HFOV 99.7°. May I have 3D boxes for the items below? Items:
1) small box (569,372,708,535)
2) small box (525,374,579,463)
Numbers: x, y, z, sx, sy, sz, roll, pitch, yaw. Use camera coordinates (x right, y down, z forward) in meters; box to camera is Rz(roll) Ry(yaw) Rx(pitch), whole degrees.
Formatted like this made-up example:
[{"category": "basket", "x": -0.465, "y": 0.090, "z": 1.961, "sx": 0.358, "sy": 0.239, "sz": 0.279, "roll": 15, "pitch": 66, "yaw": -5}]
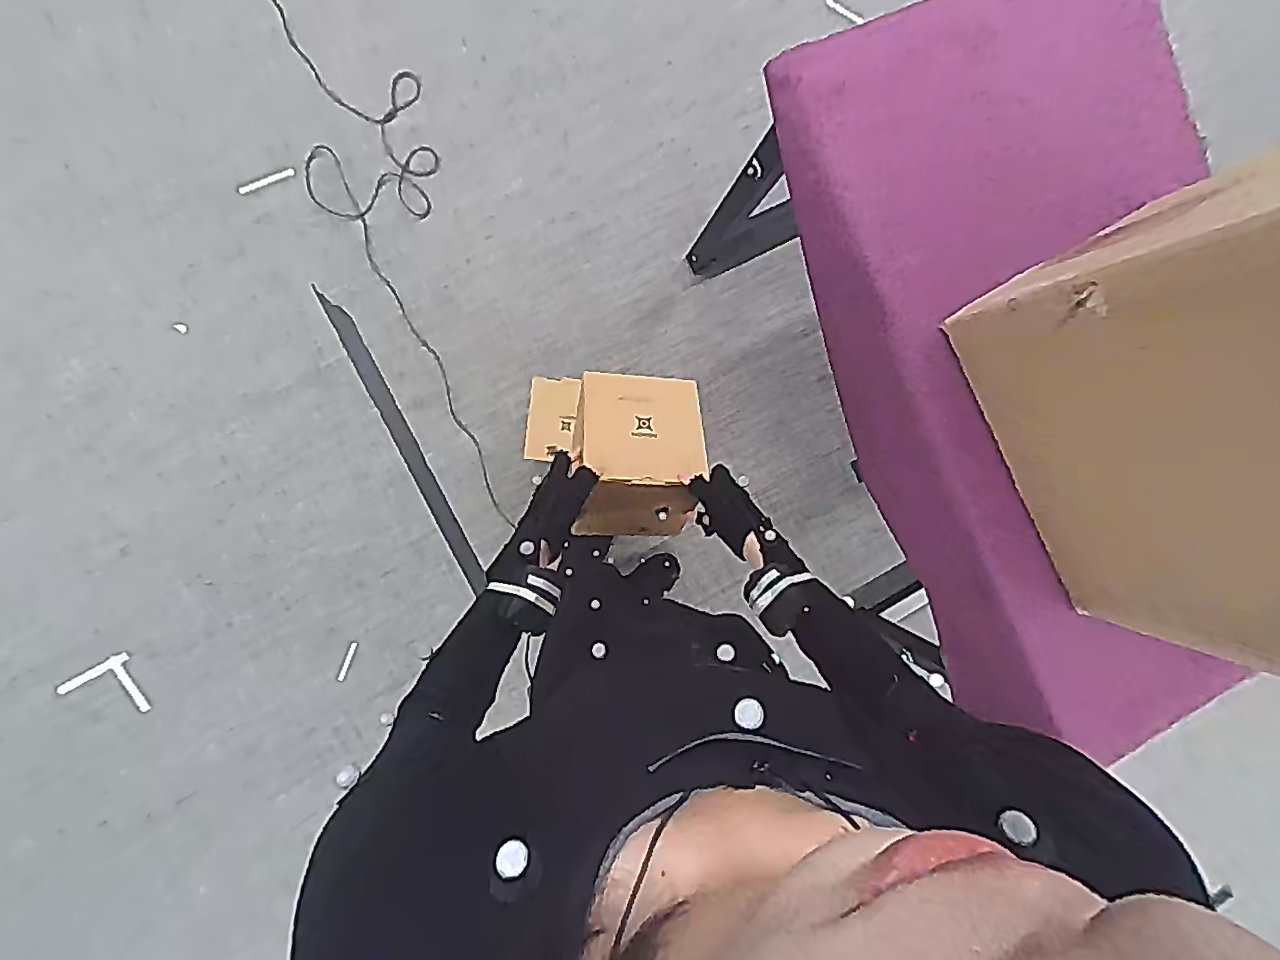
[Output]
[{"category": "small box", "x": -0.012, "y": -0.031, "z": 0.783, "sx": 0.168, "sy": 0.176, "sz": 0.179, "roll": 2, "pitch": 58, "yaw": -12}, {"category": "small box", "x": -0.161, "y": -0.127, "z": 1.207, "sx": 0.168, "sy": 0.176, "sz": 0.179, "roll": 6, "pitch": 92, "yaw": -9}]
